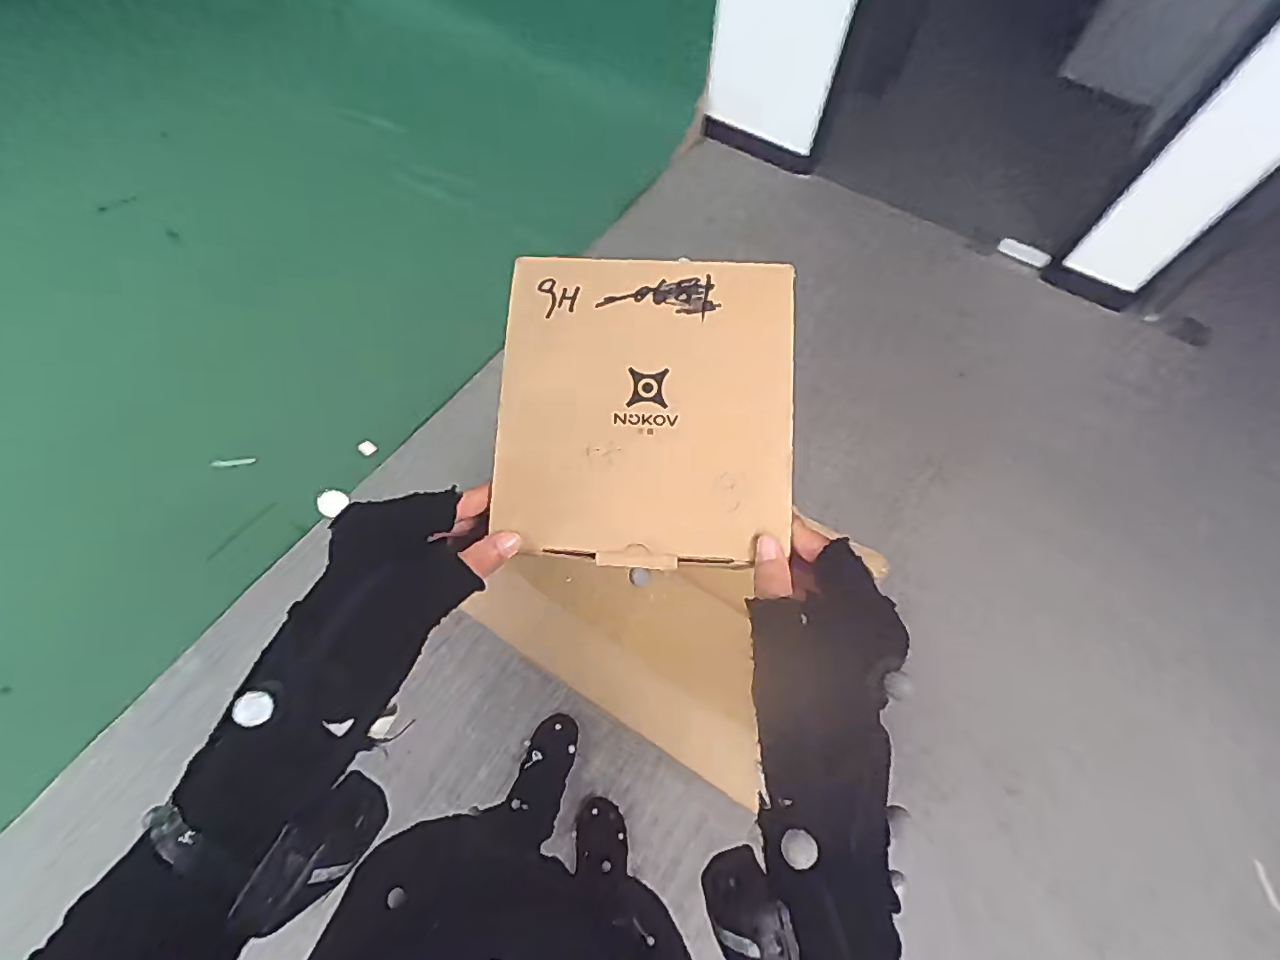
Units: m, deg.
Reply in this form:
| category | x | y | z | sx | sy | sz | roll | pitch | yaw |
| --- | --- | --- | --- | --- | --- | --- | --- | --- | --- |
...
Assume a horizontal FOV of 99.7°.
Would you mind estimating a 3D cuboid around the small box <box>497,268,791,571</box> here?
| category | x | y | z | sx | sy | sz | roll | pitch | yaw |
| --- | --- | --- | --- | --- | --- | --- | --- | --- | --- |
| small box | 0.007 | -0.029 | 0.391 | 0.168 | 0.176 | 0.179 | 2 | 82 | 2 |
